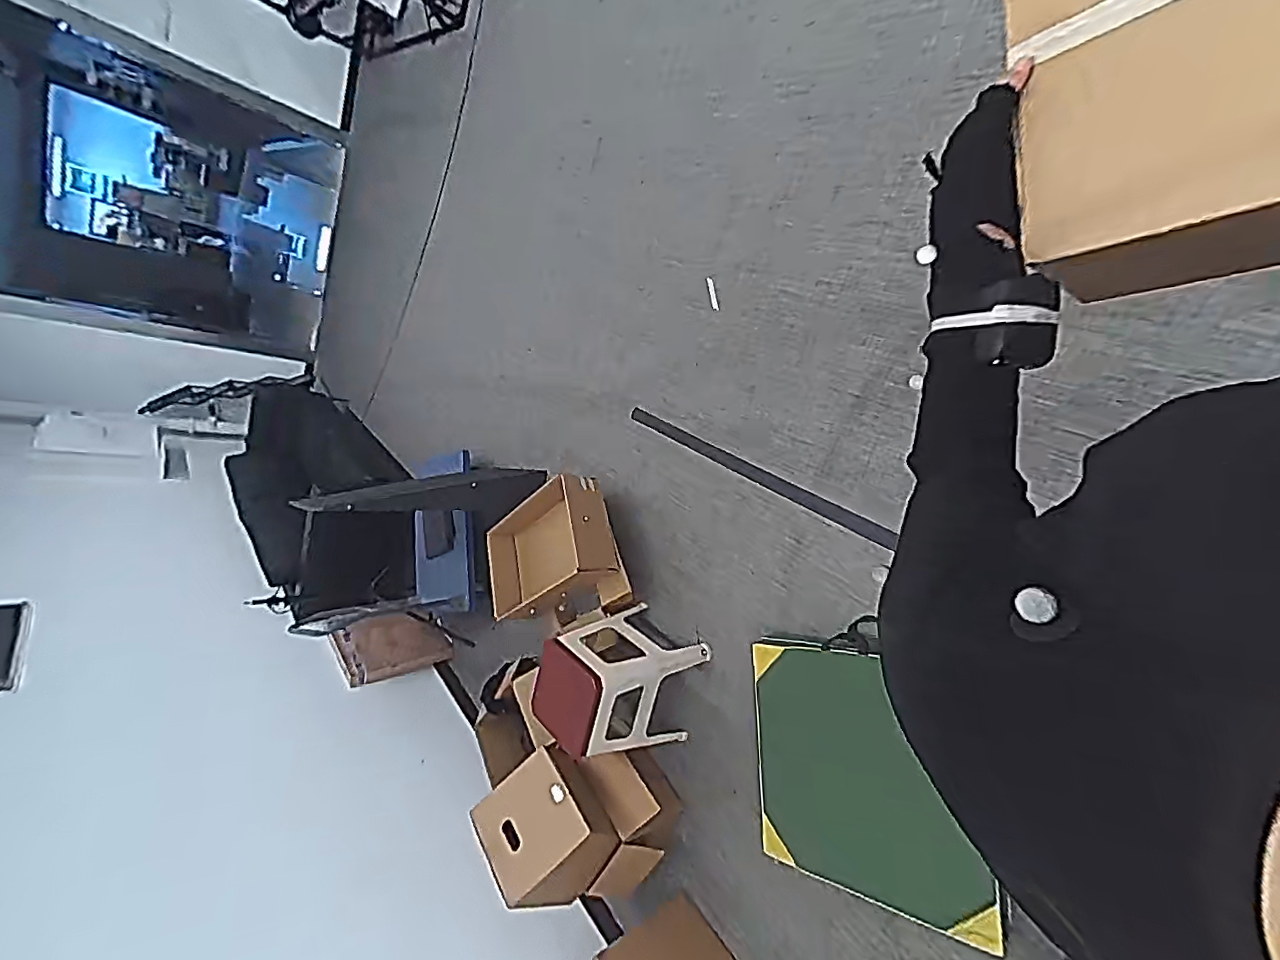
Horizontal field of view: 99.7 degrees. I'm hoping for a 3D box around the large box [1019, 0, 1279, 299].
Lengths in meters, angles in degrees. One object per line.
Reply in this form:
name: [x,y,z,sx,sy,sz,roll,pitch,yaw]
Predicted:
large box: [0.548,-0.353,0.395,0.408,0.320,0.320,-1,97,45]
